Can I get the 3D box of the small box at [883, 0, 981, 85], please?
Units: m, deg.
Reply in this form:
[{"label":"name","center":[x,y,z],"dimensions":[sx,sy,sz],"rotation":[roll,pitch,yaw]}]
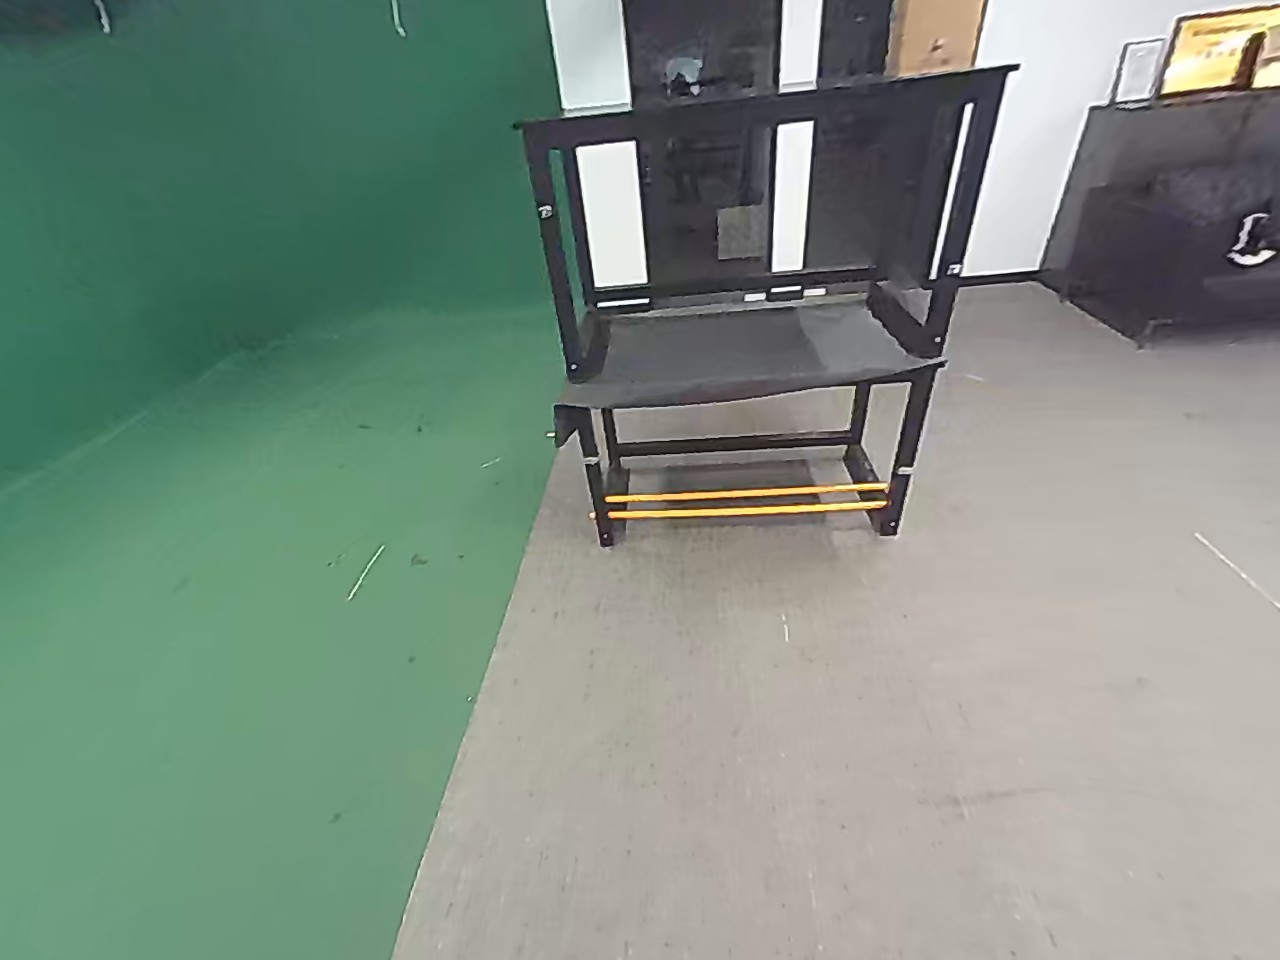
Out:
[{"label":"small box","center":[0.716,-1.093,1.343],"dimensions":[0.168,0.176,0.179],"rotation":[1,36,12]}]
